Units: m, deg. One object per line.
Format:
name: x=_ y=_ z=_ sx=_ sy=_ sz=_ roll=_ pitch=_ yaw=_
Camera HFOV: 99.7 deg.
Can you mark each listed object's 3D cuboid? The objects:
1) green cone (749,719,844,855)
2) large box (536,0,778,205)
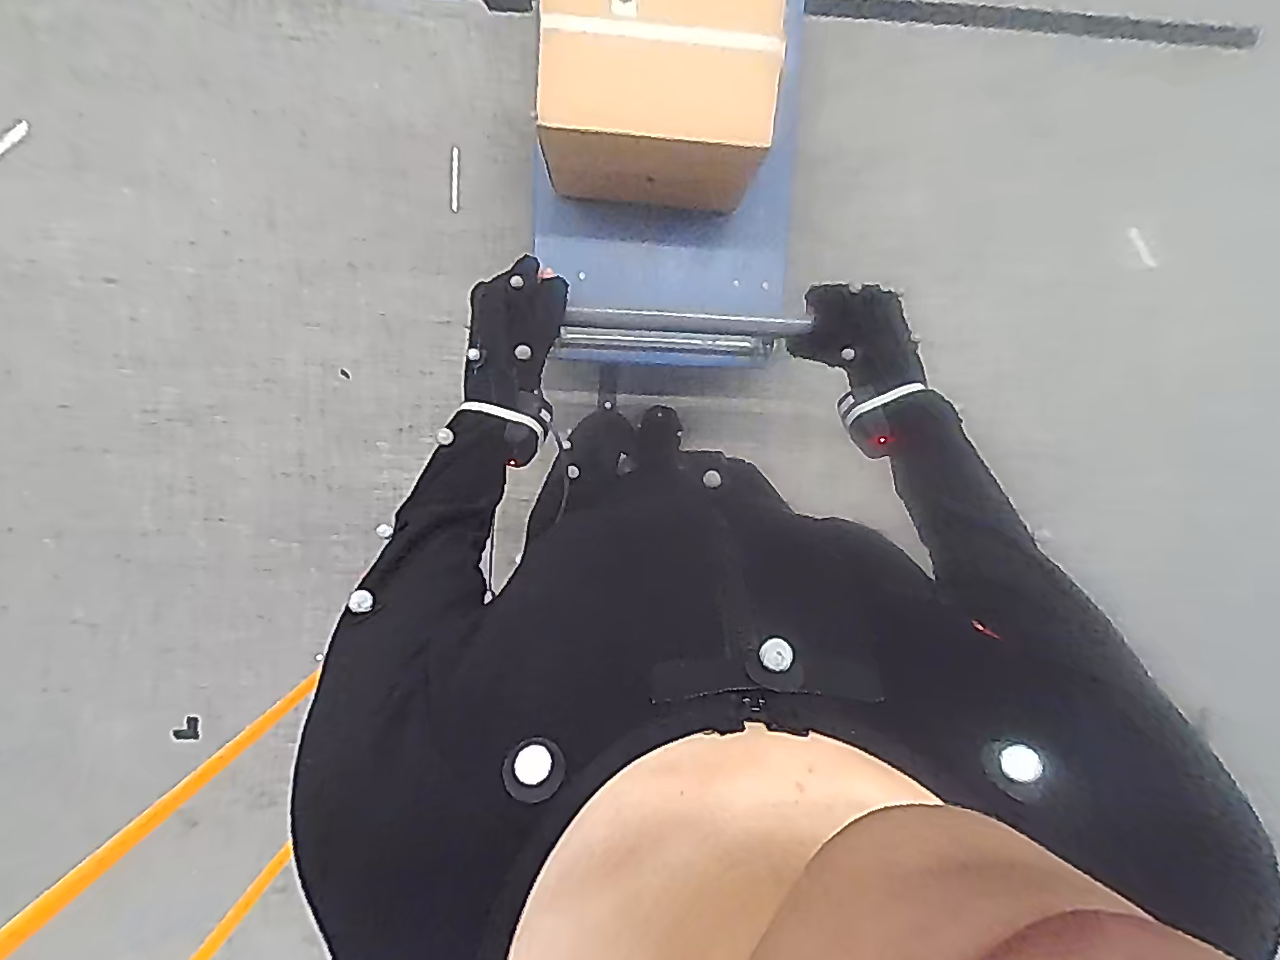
green cone: x=0.431 y=0.818 z=1.407 sx=0.202 sy=0.368 sz=0.200 roll=7 pitch=97 yaw=-4
large box: x=0.028 y=-0.756 z=1.052 sx=0.408 sy=0.320 sz=0.320 roll=4 pitch=97 yaw=-2
